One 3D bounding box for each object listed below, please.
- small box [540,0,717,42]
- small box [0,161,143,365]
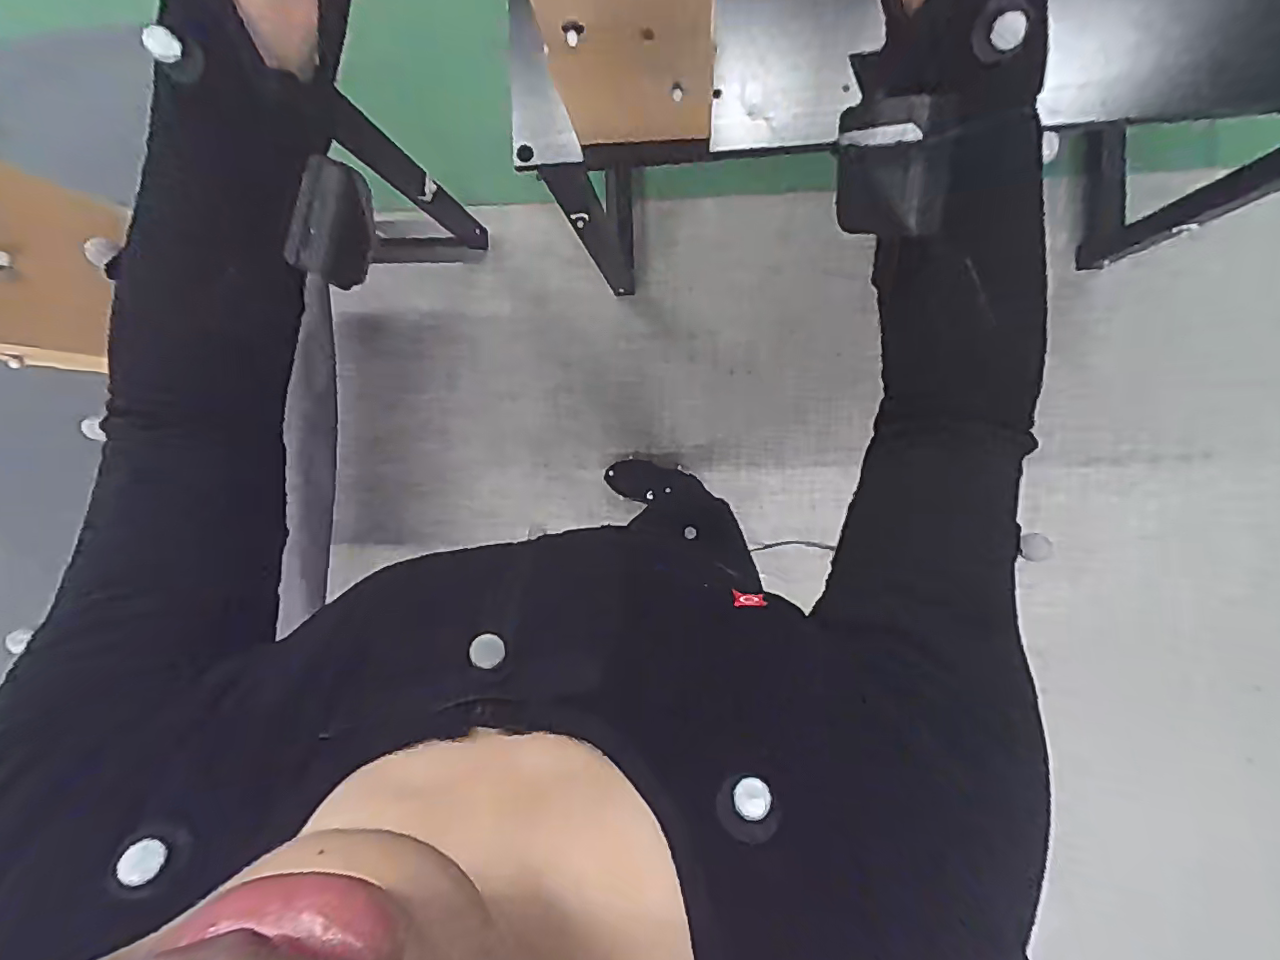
[{"bbox_3d":[-0.012,-0.509,0.451,0.168,0.176,0.179,3,94,5],"label":"small box"},{"bbox_3d":[-0.665,-0.218,0.554,0.168,0.176,0.179,2,96,8],"label":"small box"}]
